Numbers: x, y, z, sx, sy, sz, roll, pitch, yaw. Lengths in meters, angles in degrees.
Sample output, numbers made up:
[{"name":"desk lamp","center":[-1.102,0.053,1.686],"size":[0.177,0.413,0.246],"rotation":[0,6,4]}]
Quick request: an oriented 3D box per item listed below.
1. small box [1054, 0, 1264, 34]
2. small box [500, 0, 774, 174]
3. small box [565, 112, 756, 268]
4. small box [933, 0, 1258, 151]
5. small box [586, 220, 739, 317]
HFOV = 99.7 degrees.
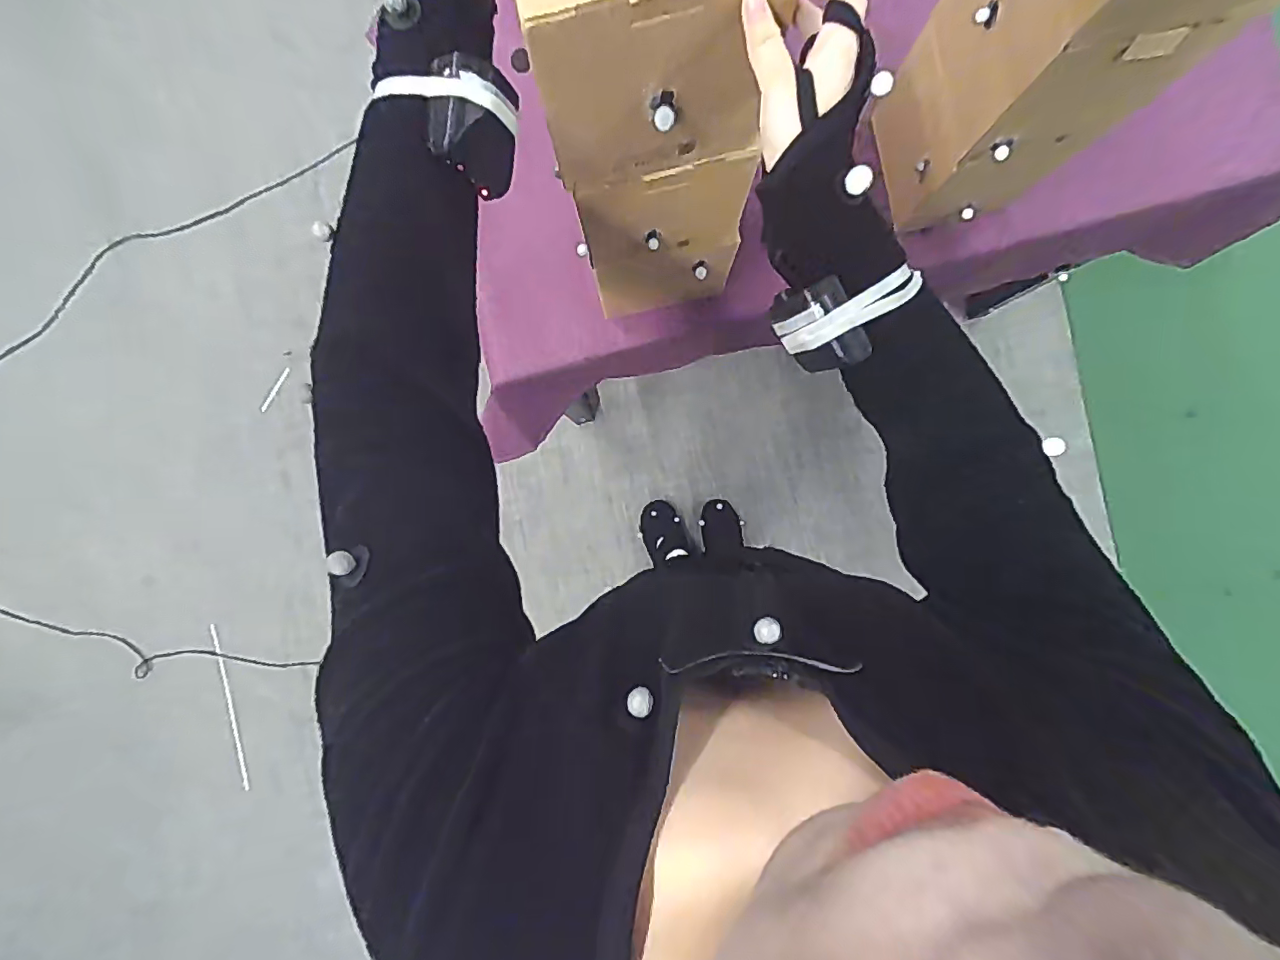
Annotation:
[{"name":"small box","center":[0.411,-0.449,0.361],"size":[0.179,0.176,0.168],"rotation":[-8,91,2]},{"name":"small box","center":[-0.010,-0.347,0.379],"size":[0.168,0.176,0.179],"rotation":[-14,90,1]},{"name":"small box","center":[0.005,-0.343,0.543],"size":[0.168,0.176,0.179],"rotation":[-12,89,2]},{"name":"small box","center":[0.415,-0.453,0.524],"size":[0.168,0.176,0.179],"rotation":[-9,88,2]},{"name":"small box","center":[0.016,-0.332,0.705],"size":[0.179,0.176,0.168],"rotation":[-12,88,2]}]
